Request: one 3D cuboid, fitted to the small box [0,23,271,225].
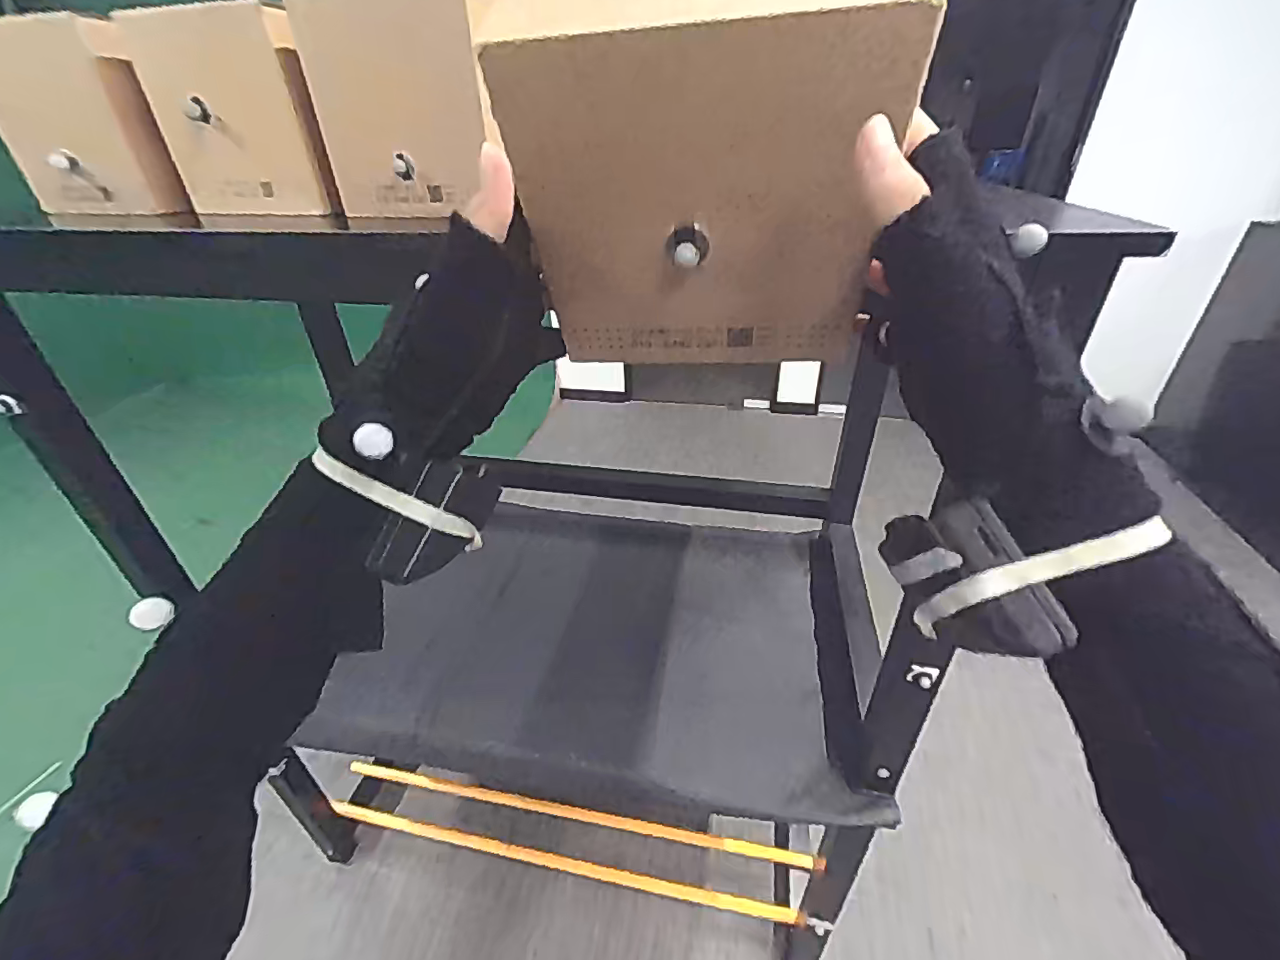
[{"bbox_3d":[-0.567,-0.400,0.618,0.168,0.176,0.179,6,35,12],"label":"small box"}]

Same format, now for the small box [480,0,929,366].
[{"bbox_3d":[0.036,-0.180,0.302,0.168,0.176,0.179,2,59,8],"label":"small box"}]
